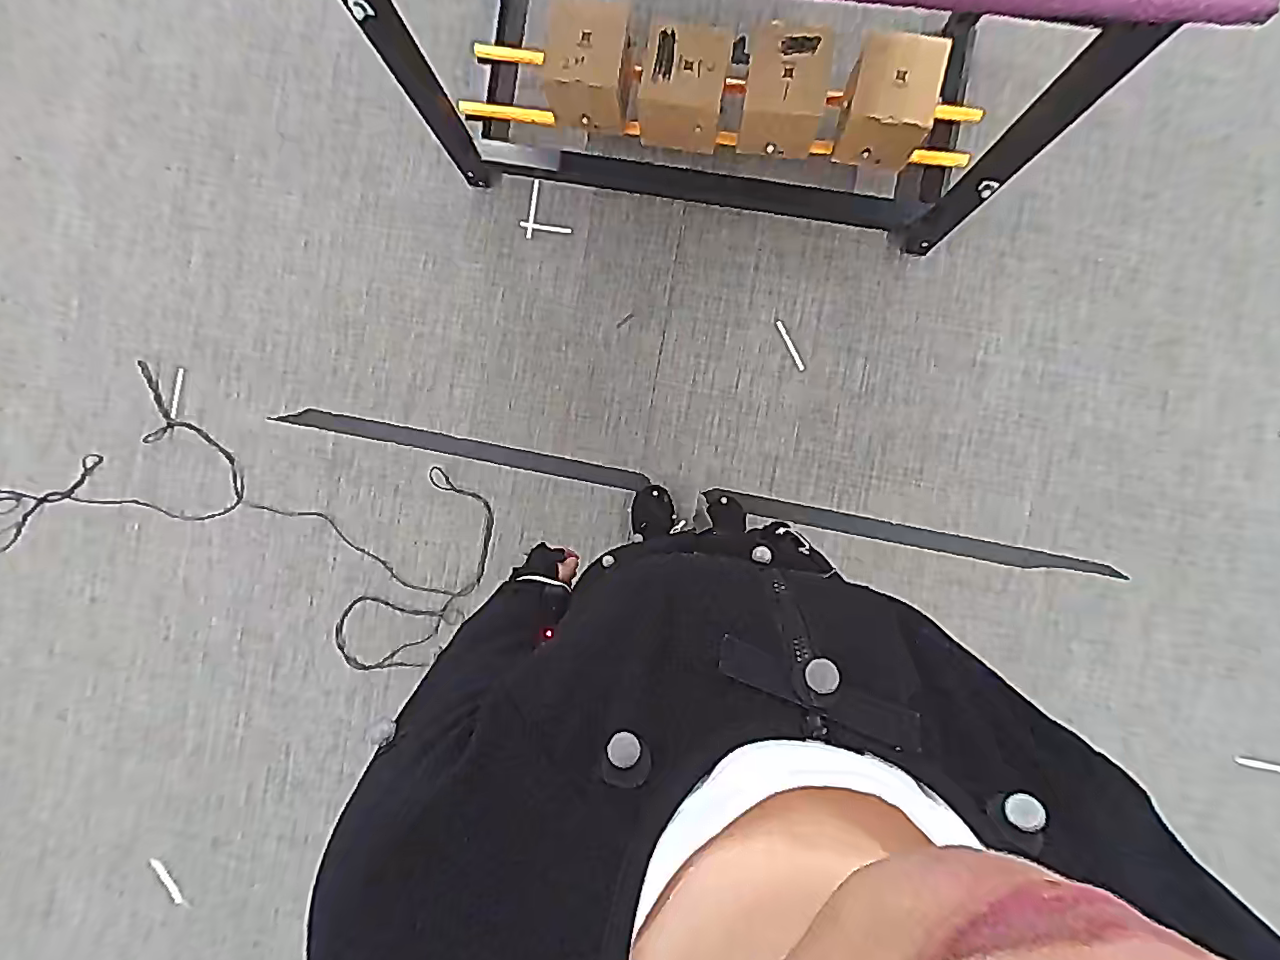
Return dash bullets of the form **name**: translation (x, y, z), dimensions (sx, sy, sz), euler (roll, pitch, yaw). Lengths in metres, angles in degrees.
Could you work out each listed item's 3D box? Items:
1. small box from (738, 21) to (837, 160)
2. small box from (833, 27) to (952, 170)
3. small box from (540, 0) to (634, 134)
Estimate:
- **small box**: translation (0.311, -0.837, 1.174), dimensions (0.168, 0.176, 0.179), euler (8, 94, 4)
- **small box**: translation (0.529, -0.807, 1.159), dimensions (0.168, 0.176, 0.179), euler (12, 93, 4)
- **small box**: translation (-0.109, -0.911, 1.194), dimensions (0.168, 0.176, 0.179), euler (10, 93, 3)
